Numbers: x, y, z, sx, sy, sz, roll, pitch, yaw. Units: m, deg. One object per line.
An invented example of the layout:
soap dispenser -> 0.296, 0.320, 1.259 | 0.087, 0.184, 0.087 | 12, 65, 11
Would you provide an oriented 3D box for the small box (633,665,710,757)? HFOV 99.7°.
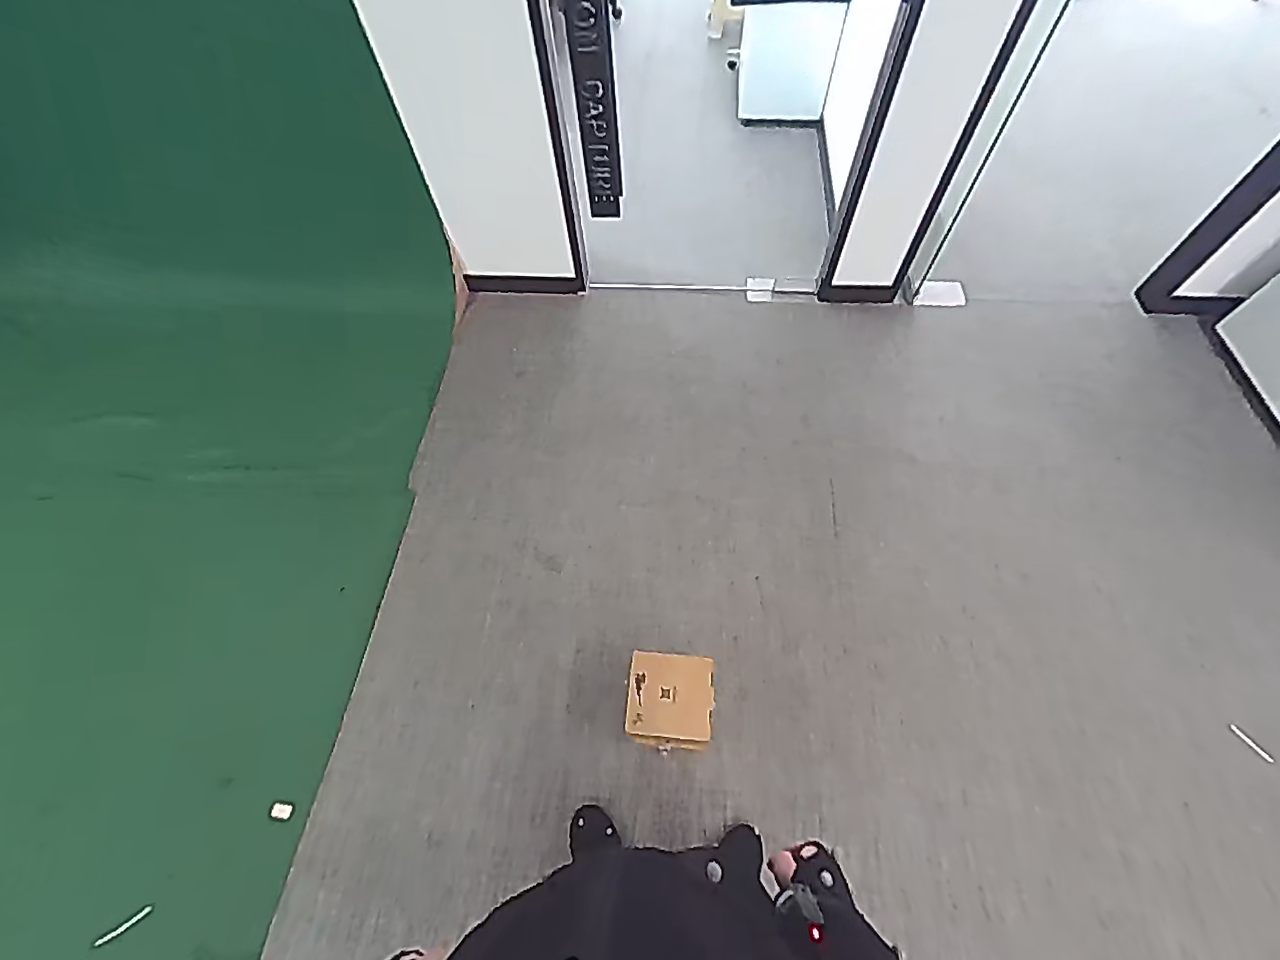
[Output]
small box -> 0.080, 0.568, 1.324 | 0.168, 0.176, 0.179 | 5, 61, 8
